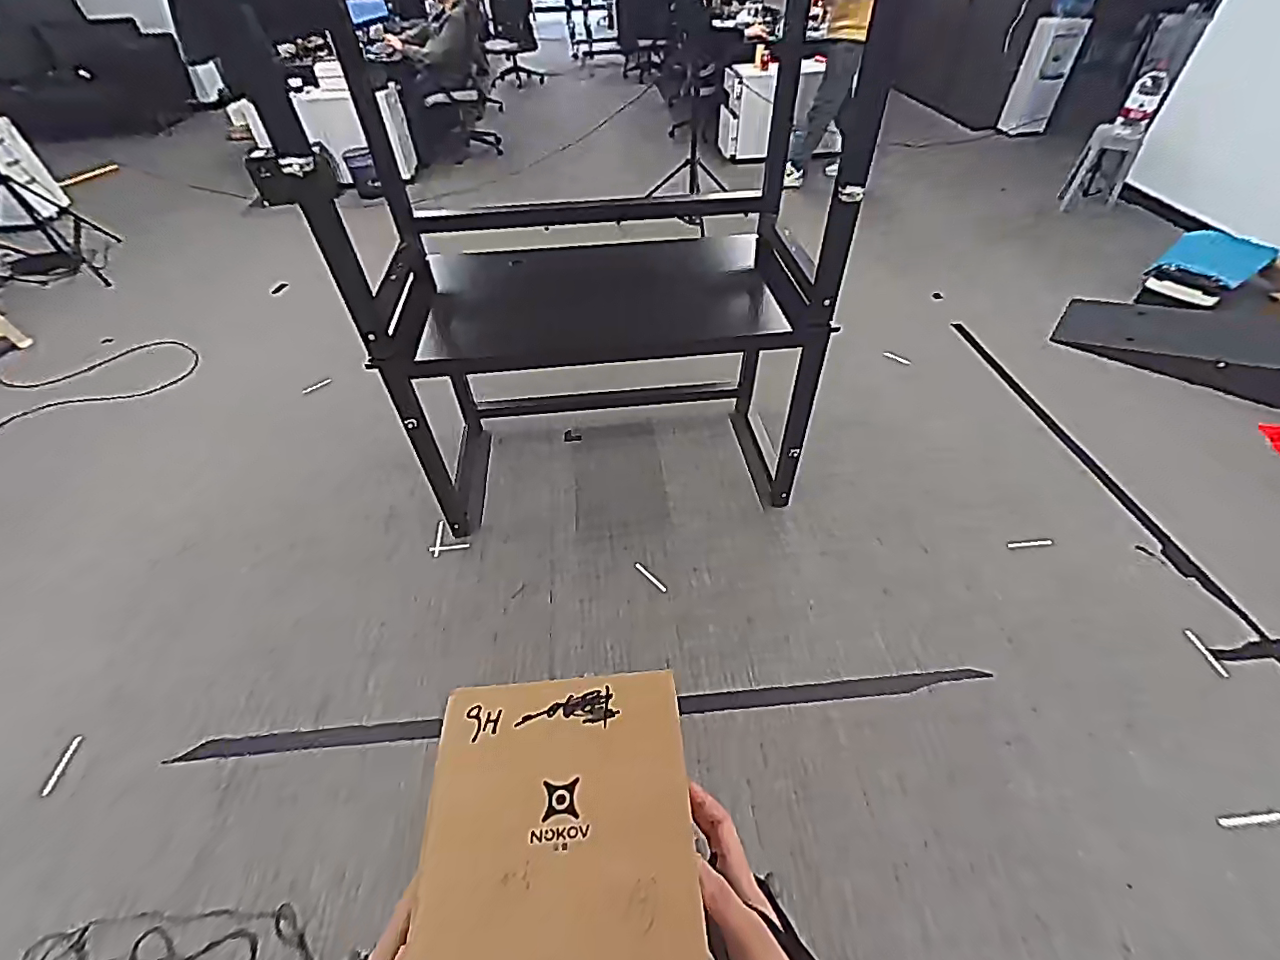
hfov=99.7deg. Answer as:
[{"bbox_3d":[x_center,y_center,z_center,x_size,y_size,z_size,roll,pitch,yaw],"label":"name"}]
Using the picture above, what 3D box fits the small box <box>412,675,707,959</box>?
[{"bbox_3d":[-0.047,0.267,0.398,0.168,0.176,0.179,-4,47,-3],"label":"small box"}]
